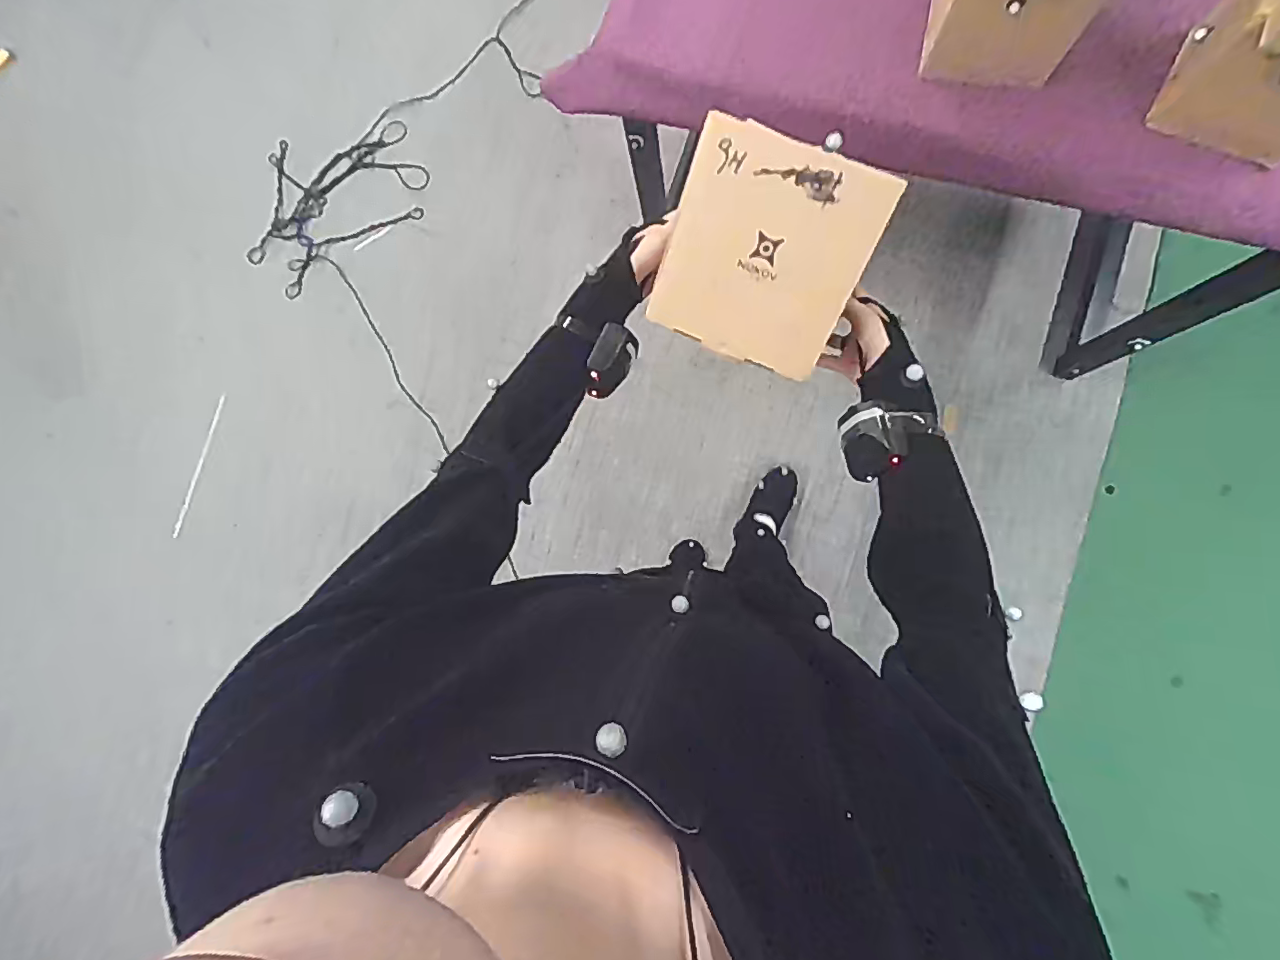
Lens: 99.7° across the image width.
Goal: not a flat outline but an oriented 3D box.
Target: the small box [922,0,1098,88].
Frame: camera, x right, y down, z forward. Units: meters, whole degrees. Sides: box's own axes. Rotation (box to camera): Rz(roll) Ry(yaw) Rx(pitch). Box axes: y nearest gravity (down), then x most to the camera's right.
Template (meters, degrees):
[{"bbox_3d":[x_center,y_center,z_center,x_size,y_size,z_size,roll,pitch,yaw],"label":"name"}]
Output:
[{"bbox_3d":[0.507,-0.672,0.728,0.179,0.176,0.168,12,86,8],"label":"small box"}]

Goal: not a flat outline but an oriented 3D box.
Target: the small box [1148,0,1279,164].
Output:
[{"bbox_3d":[0.815,-0.538,0.674,0.179,0.176,0.168,28,87,11],"label":"small box"}]
